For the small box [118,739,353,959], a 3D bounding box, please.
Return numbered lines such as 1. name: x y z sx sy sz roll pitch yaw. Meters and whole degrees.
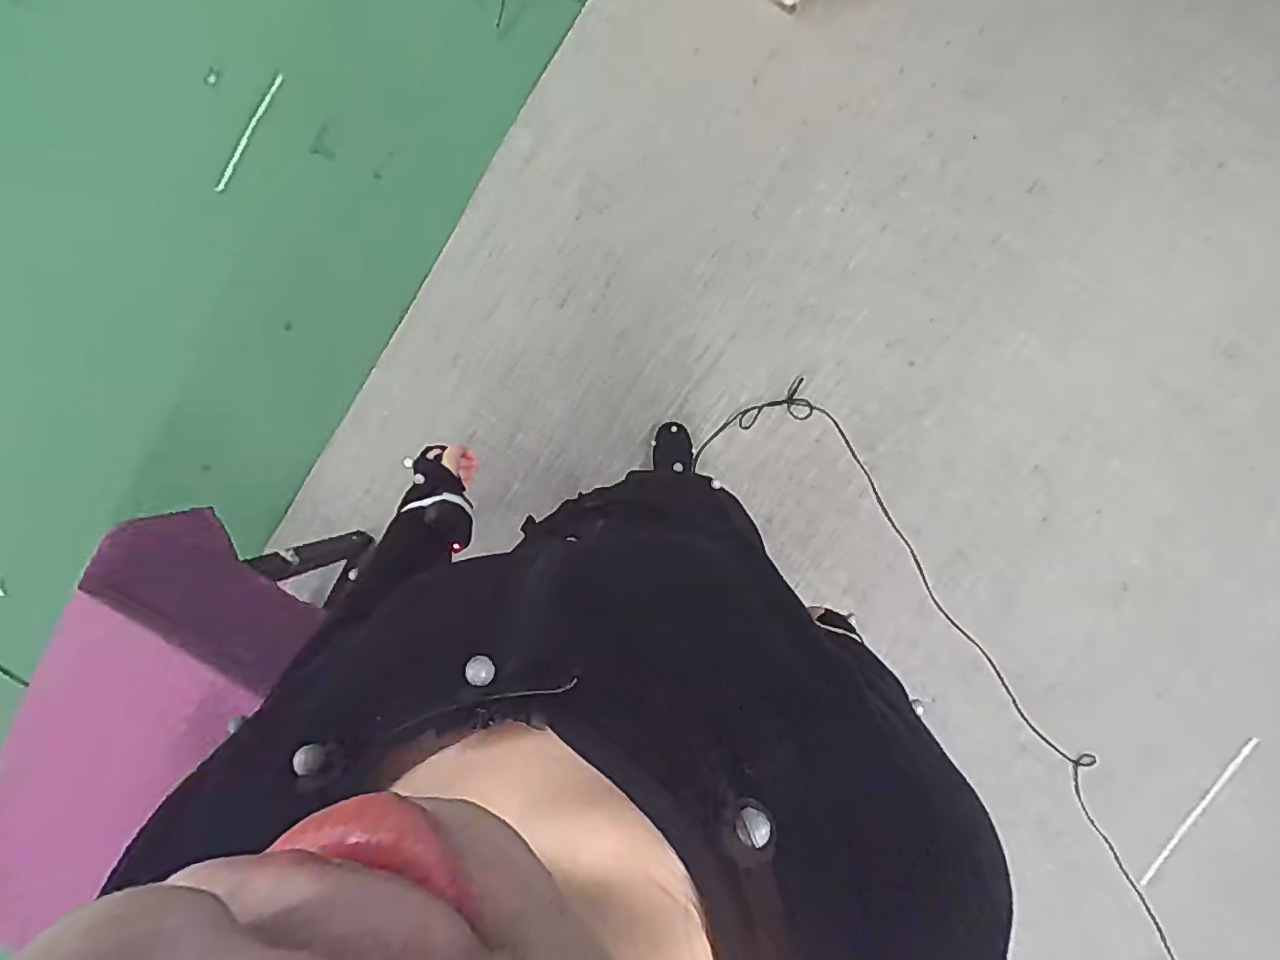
1. small box: -0.540 0.505 0.752 0.168 0.176 0.179 33 95 2
